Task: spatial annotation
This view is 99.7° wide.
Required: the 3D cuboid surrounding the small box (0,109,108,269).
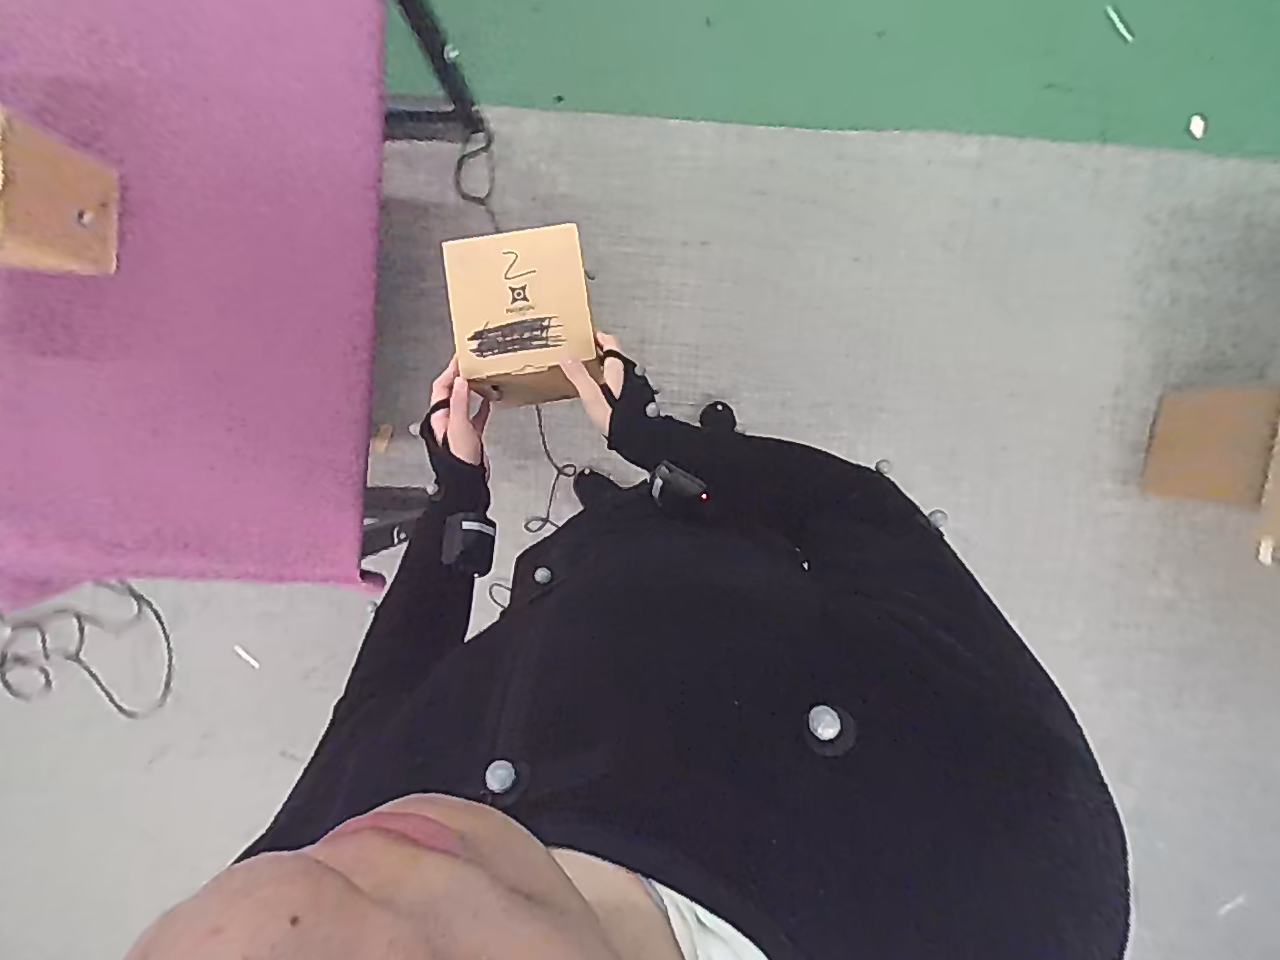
[{"bbox_3d":[-0.928,-0.413,0.770,0.179,0.176,0.168,4,93,-3],"label":"small box"}]
